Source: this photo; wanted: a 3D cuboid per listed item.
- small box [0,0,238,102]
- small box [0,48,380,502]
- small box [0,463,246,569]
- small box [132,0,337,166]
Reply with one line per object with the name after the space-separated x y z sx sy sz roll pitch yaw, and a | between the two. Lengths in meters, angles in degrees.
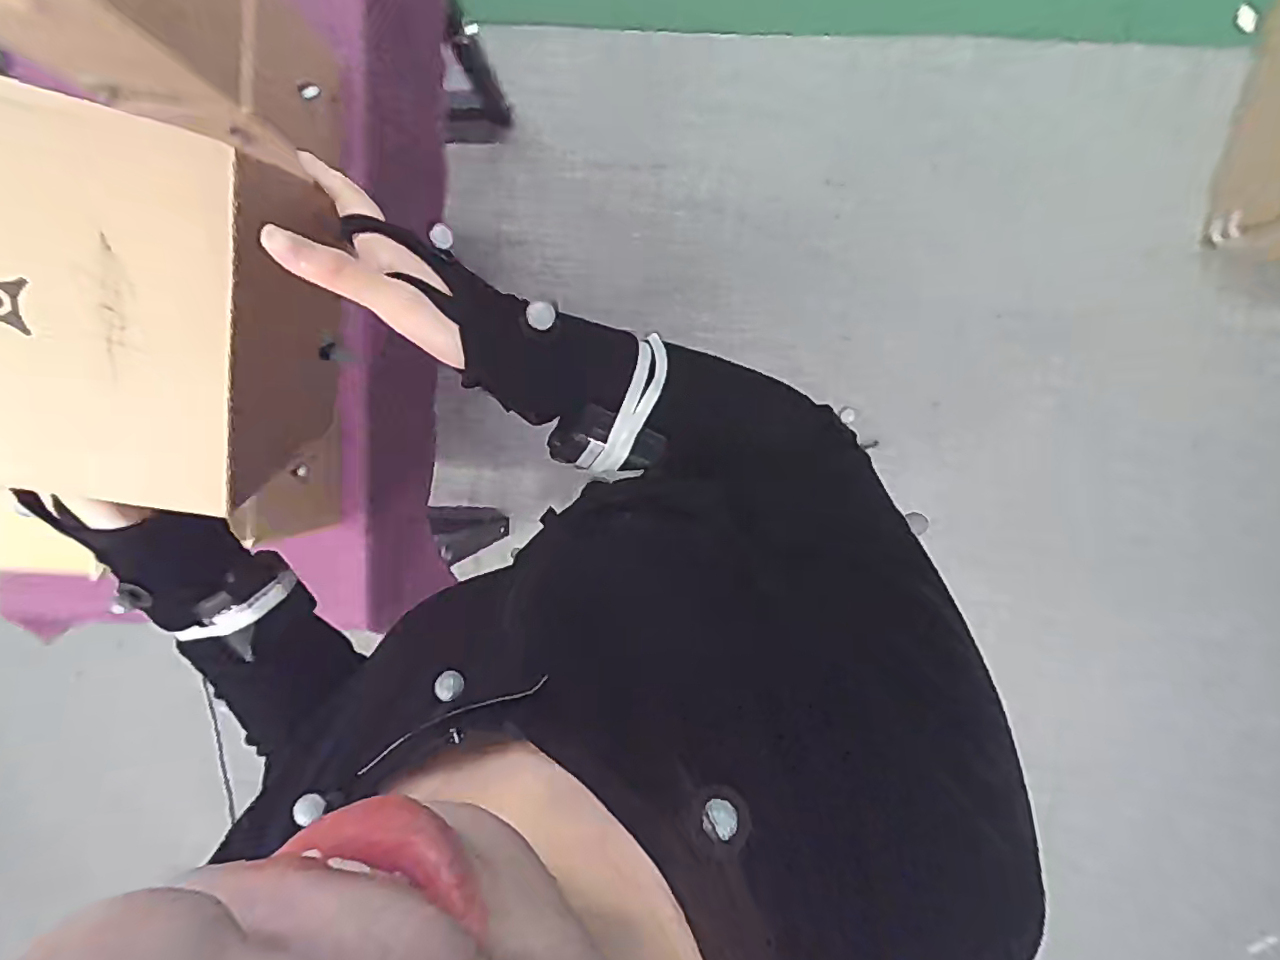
-0.529 -0.505 0.523 0.168 0.176 0.179 5 93 3 | small box
-0.263 -0.108 0.293 0.179 0.176 0.168 12 109 -17 | small box
-0.553 -0.010 0.558 0.179 0.176 0.168 2 94 3 | small box
-0.516 -0.508 0.687 0.179 0.176 0.168 5 94 4 | small box
